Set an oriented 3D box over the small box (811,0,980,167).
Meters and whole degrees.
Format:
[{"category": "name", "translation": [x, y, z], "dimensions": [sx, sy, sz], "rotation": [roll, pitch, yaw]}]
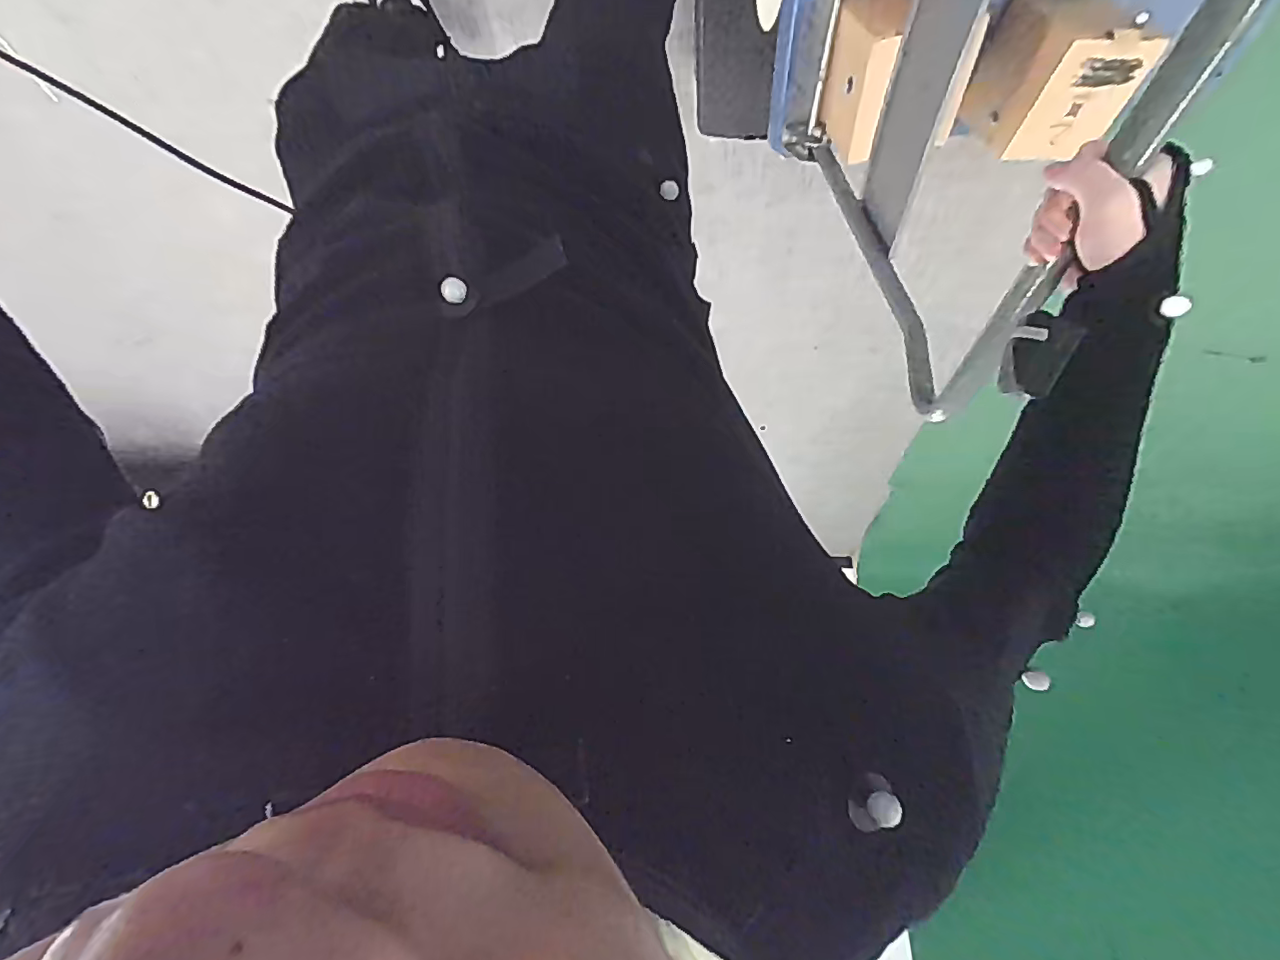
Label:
[{"category": "small box", "translation": [0.383, -0.639, 0.852], "dimensions": [0.168, 0.176, 0.179], "rotation": [-10, 150, 1]}]
